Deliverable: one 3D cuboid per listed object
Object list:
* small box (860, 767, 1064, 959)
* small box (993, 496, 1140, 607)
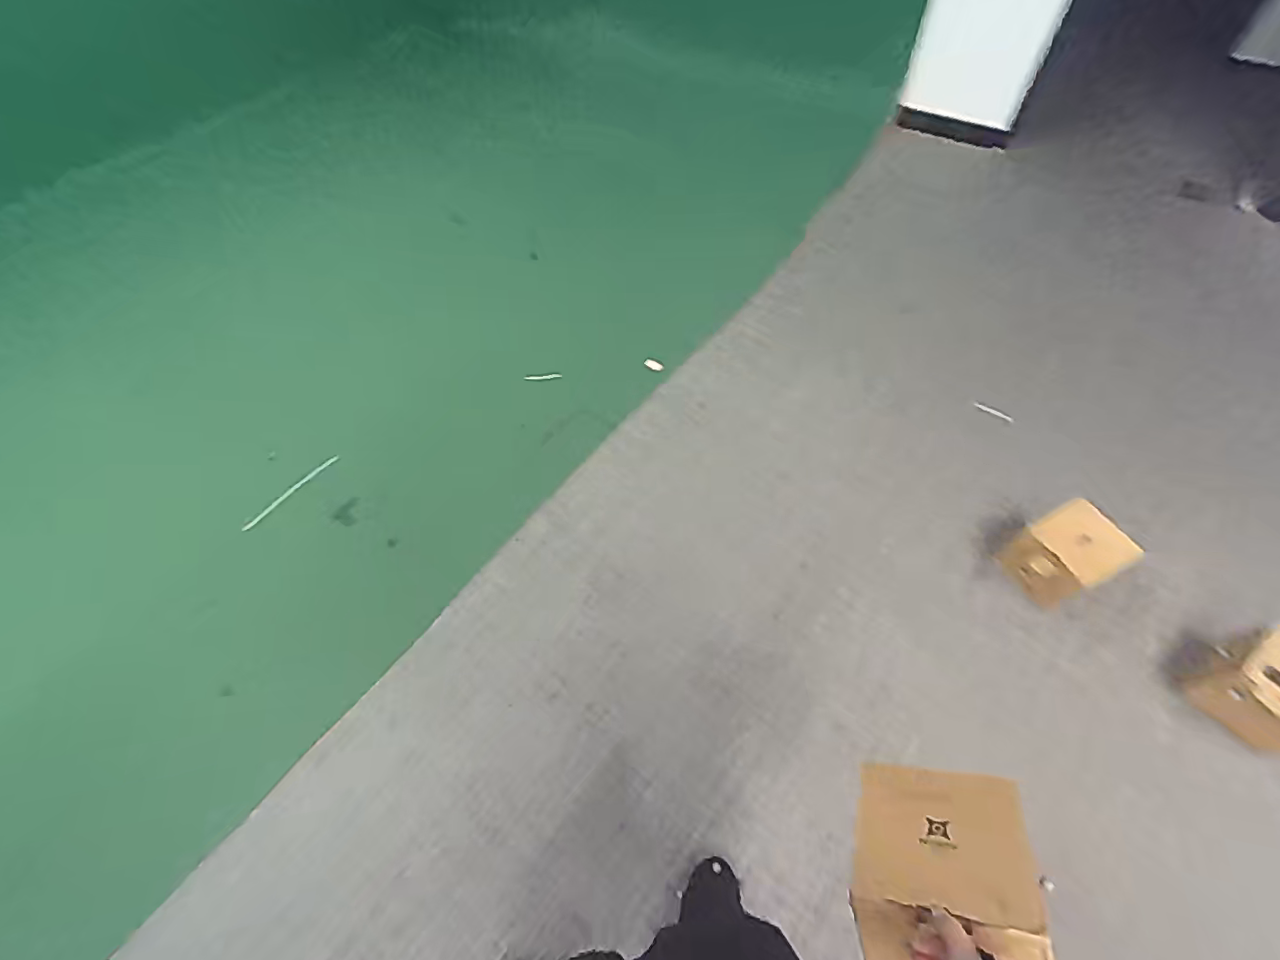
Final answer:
[{"bbox_3d":[0.341,0.451,0.578,0.168,0.176,0.179,-6,15,28],"label":"small box"},{"bbox_3d":[0.988,0.172,1.272,0.179,0.176,0.168,-26,60,-11],"label":"small box"}]
